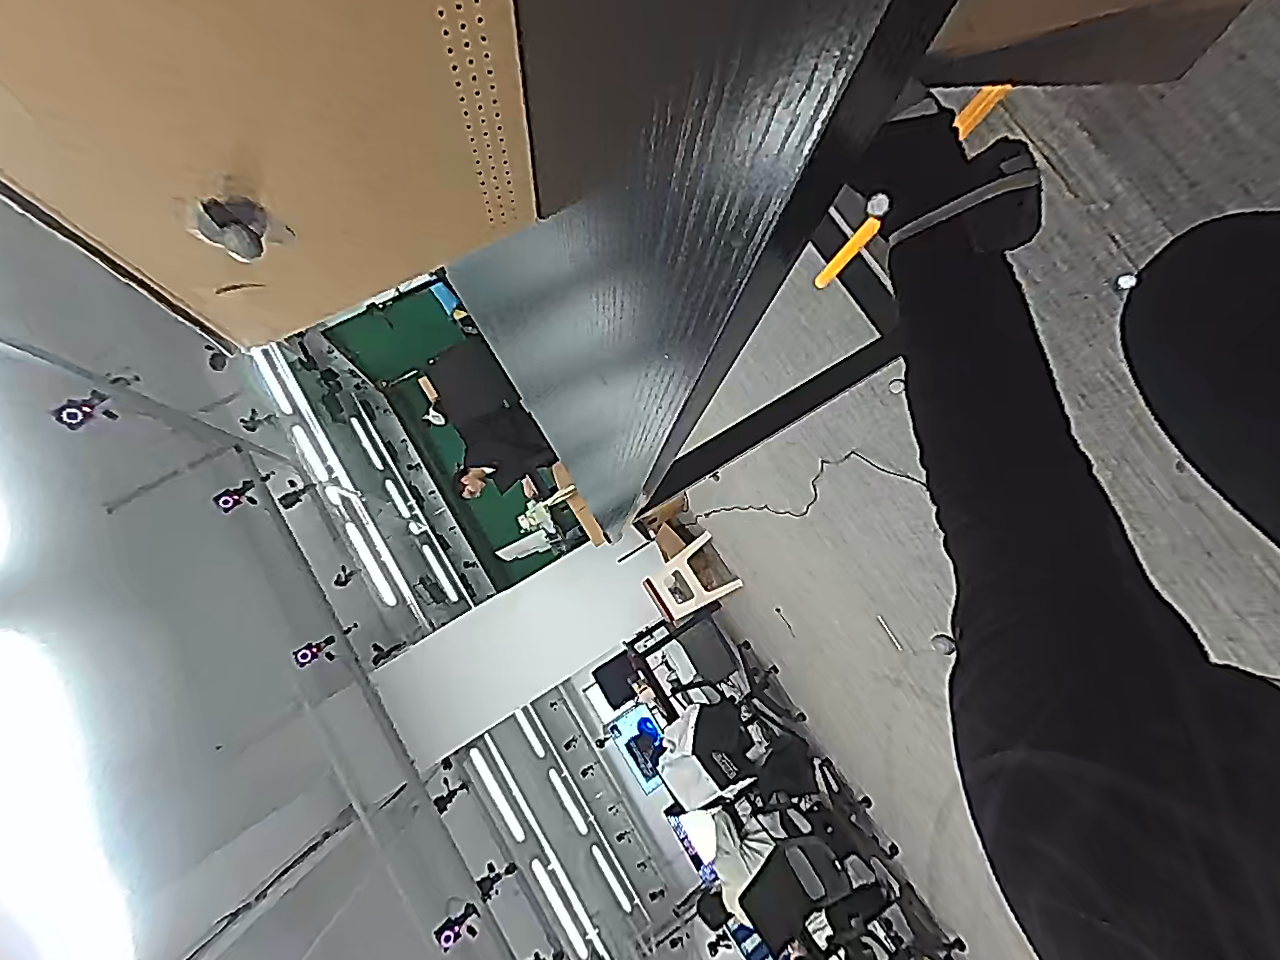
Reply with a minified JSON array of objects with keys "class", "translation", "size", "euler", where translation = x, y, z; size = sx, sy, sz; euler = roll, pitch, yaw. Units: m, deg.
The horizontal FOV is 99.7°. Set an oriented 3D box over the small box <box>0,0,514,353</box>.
[{"class":"small box","translation":[-0.162,-0.184,0.209],"size":[0.168,0.176,0.179],"euler":[58,169,6]}]
